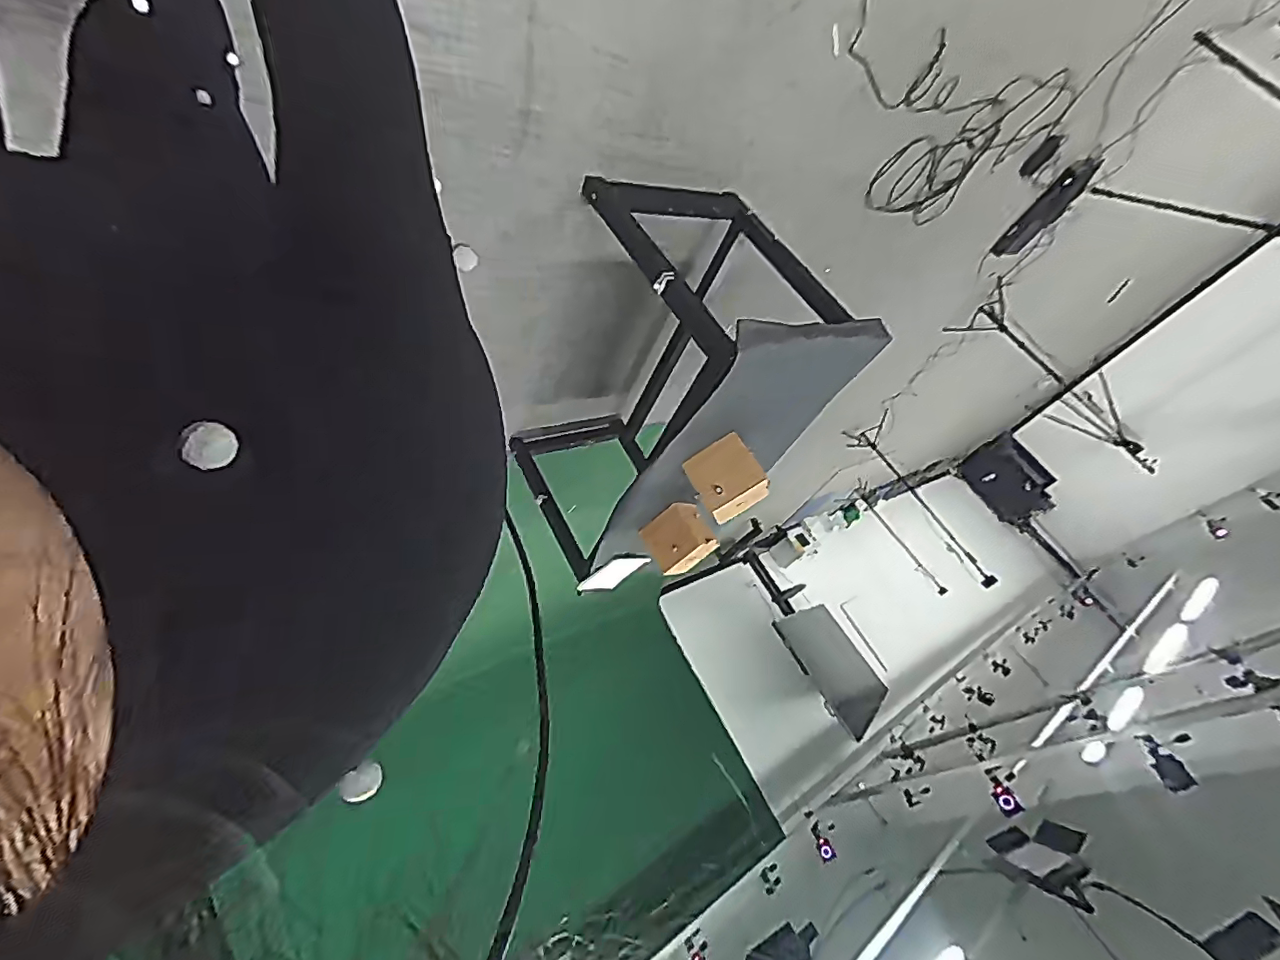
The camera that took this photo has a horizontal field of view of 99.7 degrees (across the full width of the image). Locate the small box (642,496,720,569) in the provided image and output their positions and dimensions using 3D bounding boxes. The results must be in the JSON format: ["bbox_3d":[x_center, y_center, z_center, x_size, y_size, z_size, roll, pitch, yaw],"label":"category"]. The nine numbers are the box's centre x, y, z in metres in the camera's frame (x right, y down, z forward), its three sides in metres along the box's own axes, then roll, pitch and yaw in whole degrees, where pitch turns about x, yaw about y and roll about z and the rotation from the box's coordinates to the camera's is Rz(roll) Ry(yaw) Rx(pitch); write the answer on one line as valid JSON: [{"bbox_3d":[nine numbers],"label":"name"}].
[{"bbox_3d":[0.129,0.176,1.795,0.179,0.176,0.168,-42,156,21],"label":"small box"}]

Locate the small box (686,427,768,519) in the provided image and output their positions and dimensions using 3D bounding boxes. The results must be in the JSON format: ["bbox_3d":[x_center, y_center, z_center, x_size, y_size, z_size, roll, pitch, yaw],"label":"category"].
[{"bbox_3d":[0.243,-0.019,1.535,0.179,0.176,0.168,-33,158,3],"label":"small box"}]

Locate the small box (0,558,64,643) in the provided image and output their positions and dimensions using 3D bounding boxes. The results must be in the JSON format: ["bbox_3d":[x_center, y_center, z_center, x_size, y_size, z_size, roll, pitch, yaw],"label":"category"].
[{"bbox_3d":[-1.770,0.342,1.538,0.179,0.176,0.168,-3,143,-48],"label":"small box"}]
